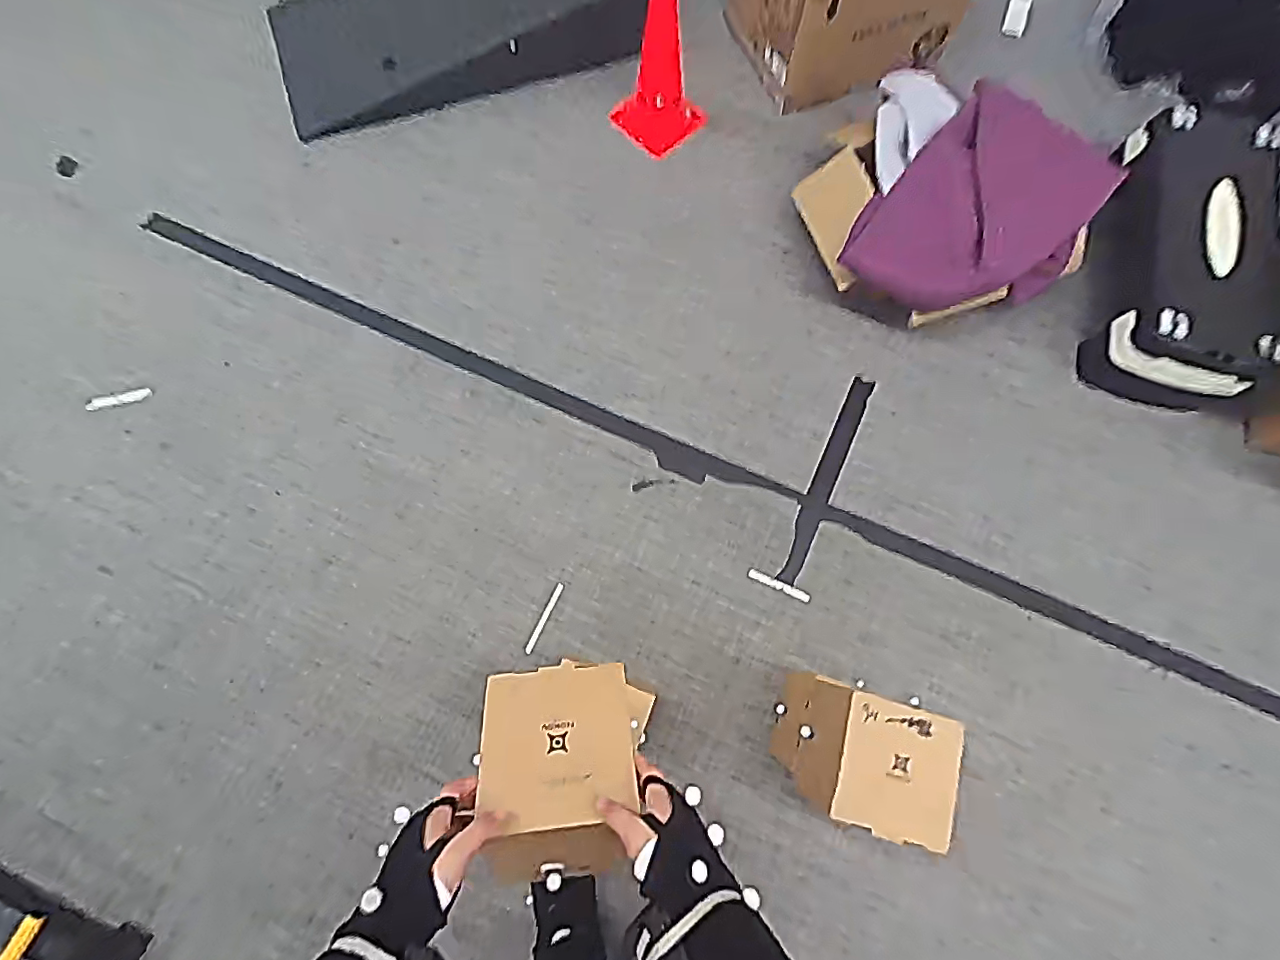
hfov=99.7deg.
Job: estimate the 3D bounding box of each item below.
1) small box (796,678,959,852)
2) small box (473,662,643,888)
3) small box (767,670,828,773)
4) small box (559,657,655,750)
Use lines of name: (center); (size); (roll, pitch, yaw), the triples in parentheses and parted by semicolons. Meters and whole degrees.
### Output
small box: (0.355, 0.425, 0.839); (0.168, 0.176, 0.179); (17, 76, 3)
small box: (-0.092, 0.341, 0.633); (0.168, 0.176, 0.179); (-3, 41, -8)
small box: (0.356, 0.461, 0.999); (0.179, 0.176, 0.168); (18, 75, 3)
small box: (-0.086, 0.435, 0.992); (0.179, 0.176, 0.168); (21, 76, 4)
